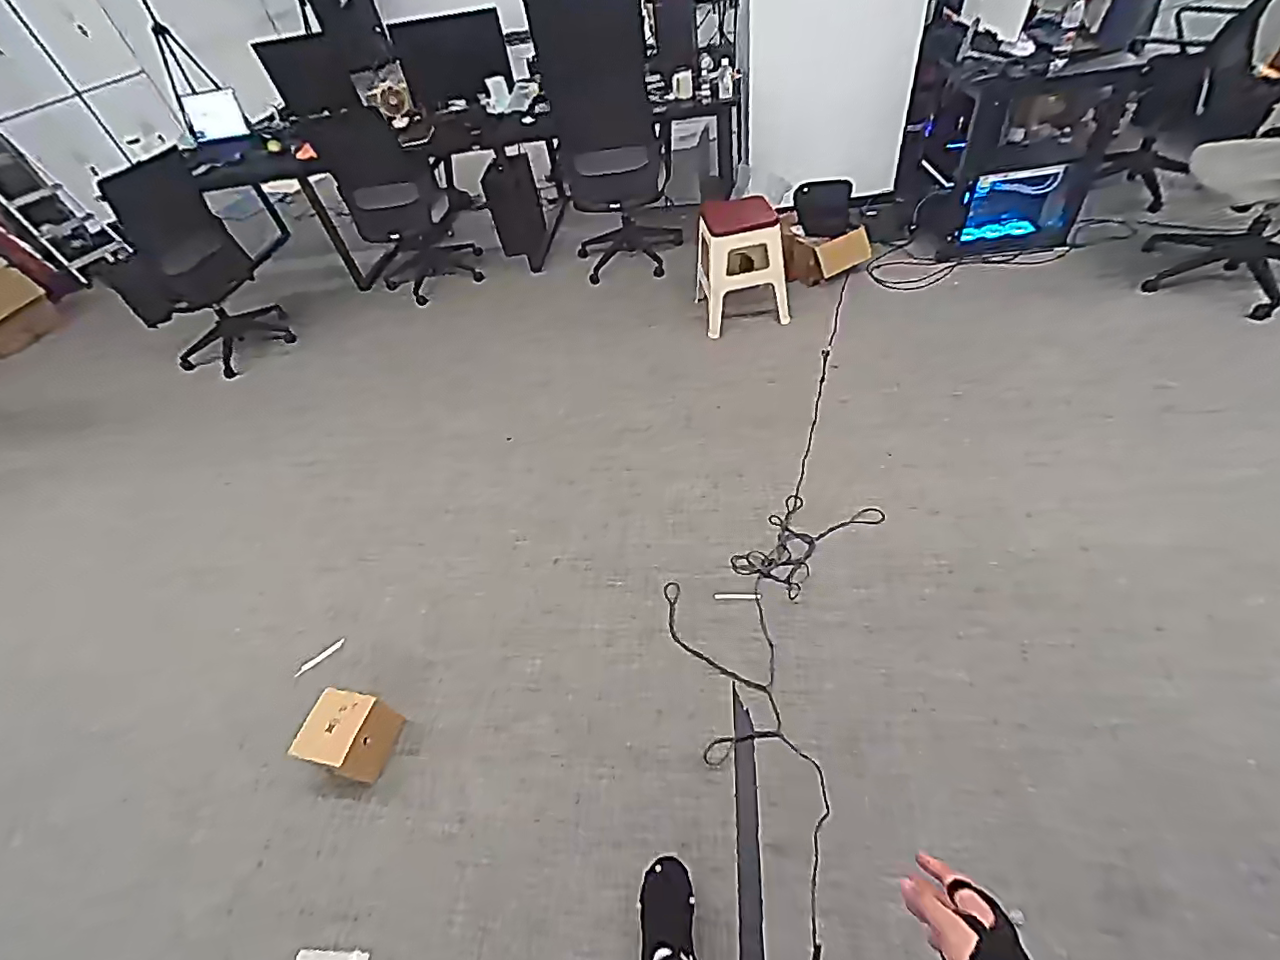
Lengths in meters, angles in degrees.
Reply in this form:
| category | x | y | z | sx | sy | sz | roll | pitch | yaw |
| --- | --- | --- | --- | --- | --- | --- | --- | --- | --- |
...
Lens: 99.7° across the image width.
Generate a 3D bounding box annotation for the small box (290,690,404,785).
| category | x | y | z | sx | sy | sz | roll | pitch | yaw |
| --- | --- | --- | --- | --- | --- | --- | --- | --- | --- |
| small box | -0.766 | 0.689 | 1.439 | 0.168 | 0.176 | 0.179 | 4 | 49 | 15 |
